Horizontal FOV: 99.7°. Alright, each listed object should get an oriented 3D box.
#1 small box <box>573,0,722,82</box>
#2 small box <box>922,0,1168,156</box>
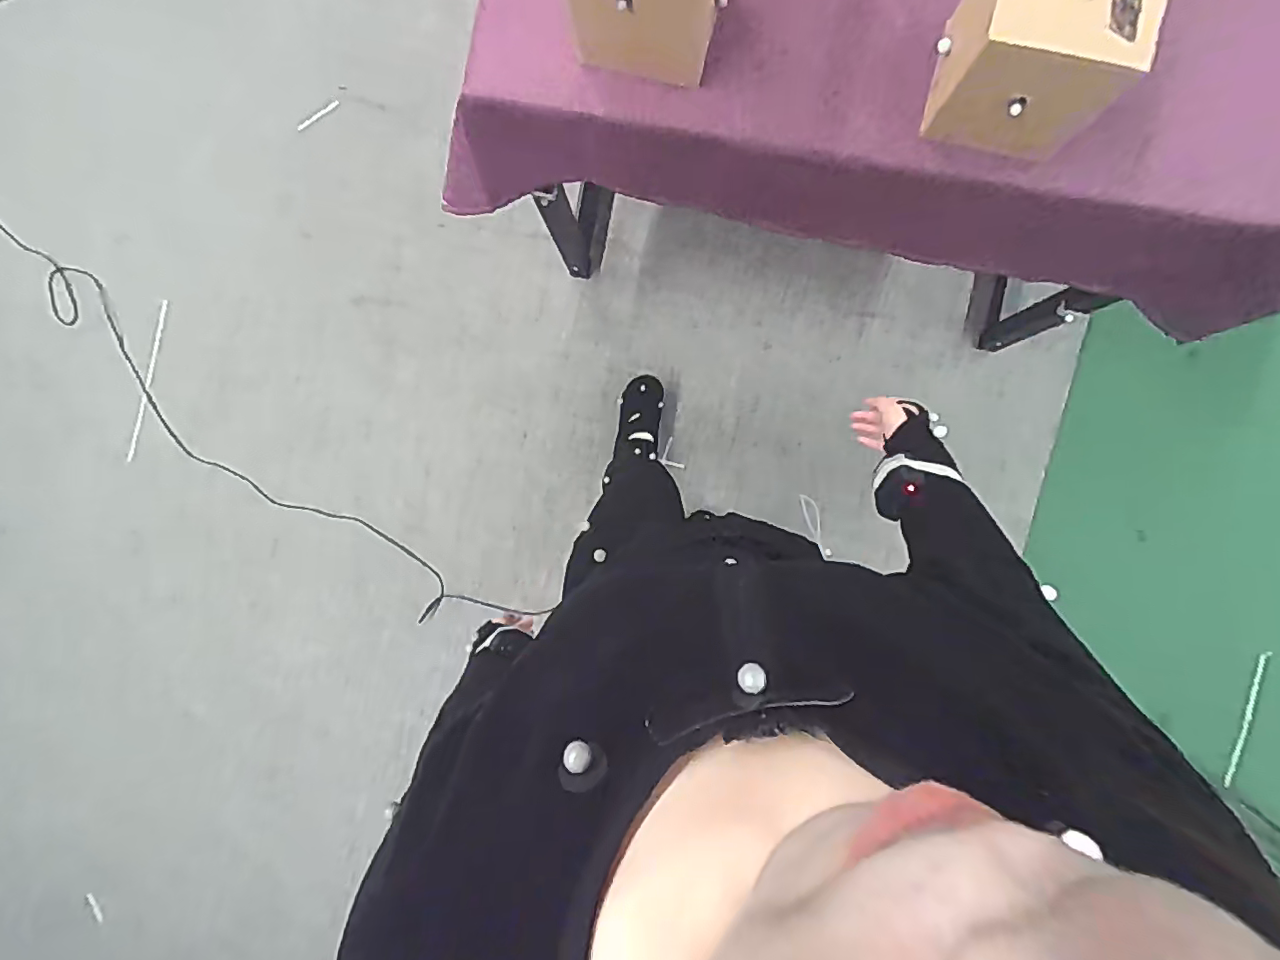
[{"bbox_3d":[0.014,-0.653,0.685,0.179,0.176,0.168,15,91,3],"label":"small box"},{"bbox_3d":[0.484,-0.532,0.658,0.179,0.176,0.168,14,90,4],"label":"small box"}]
